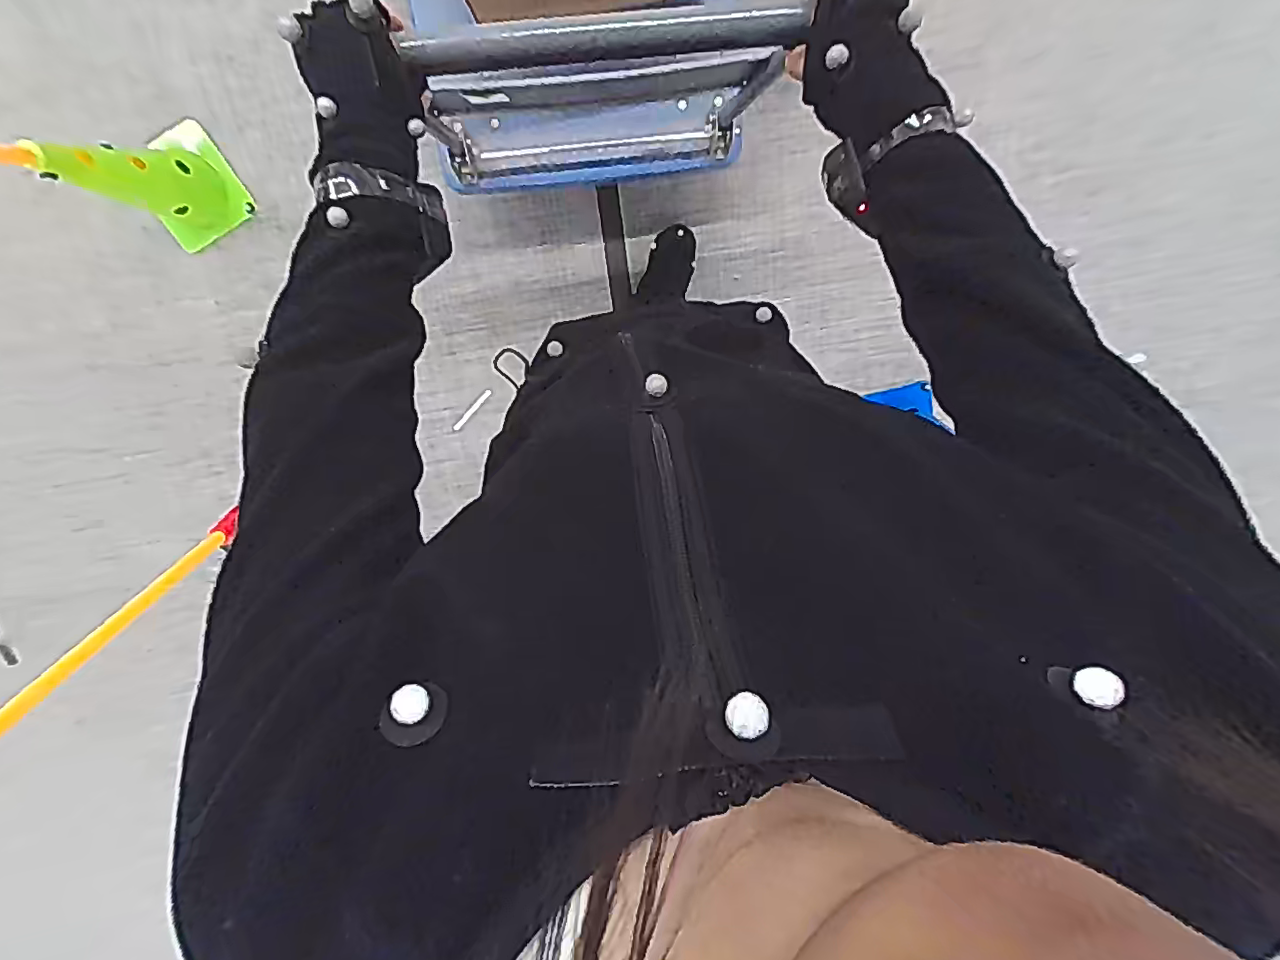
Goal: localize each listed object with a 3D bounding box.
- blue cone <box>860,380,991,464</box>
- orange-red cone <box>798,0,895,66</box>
[{"bbox_3d":[0.697,-0.102,1.288,0.193,0.380,0.192,-13,109,0],"label":"blue cone"},{"bbox_3d":[0.443,-0.911,0.955,0.199,0.360,0.198,-3,111,-4],"label":"orange-red cone"}]
